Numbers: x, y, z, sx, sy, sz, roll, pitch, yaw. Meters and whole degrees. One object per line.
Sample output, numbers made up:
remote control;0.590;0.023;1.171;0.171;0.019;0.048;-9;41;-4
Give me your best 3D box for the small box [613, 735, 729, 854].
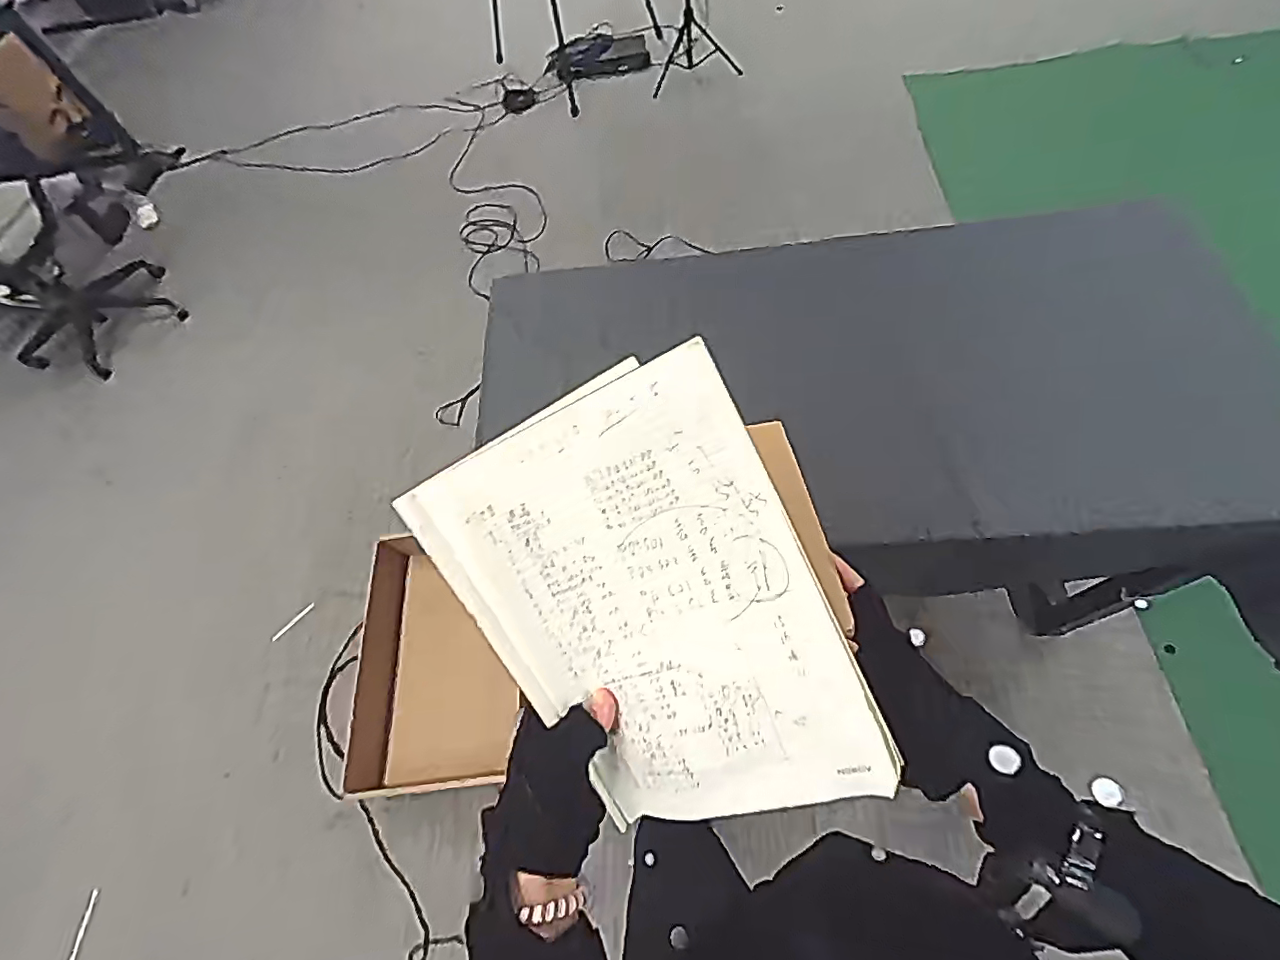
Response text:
small box;0.062;0.680;1.186;0.179;0.176;0.168;17;77;39
